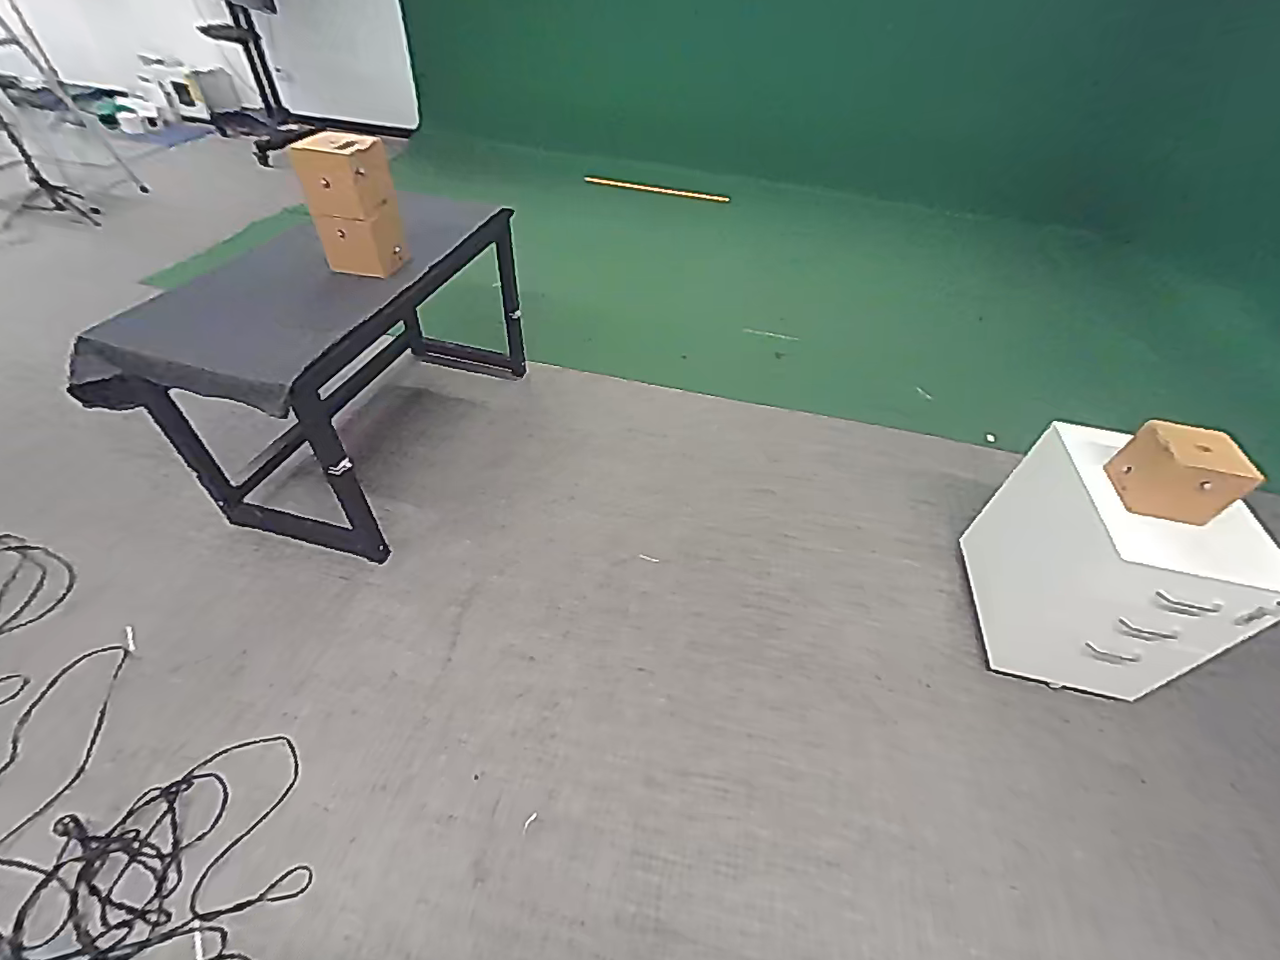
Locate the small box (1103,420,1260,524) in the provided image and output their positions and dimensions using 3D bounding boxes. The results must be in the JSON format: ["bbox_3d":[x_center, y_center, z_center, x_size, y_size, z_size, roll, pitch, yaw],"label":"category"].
[{"bbox_3d":[1.287,-0.016,1.303,0.179,0.176,0.168,12,45,6],"label":"small box"}]

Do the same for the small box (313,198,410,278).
[{"bbox_3d":[-0.826,-0.724,1.622,0.179,0.176,0.168,10,45,5],"label":"small box"}]
